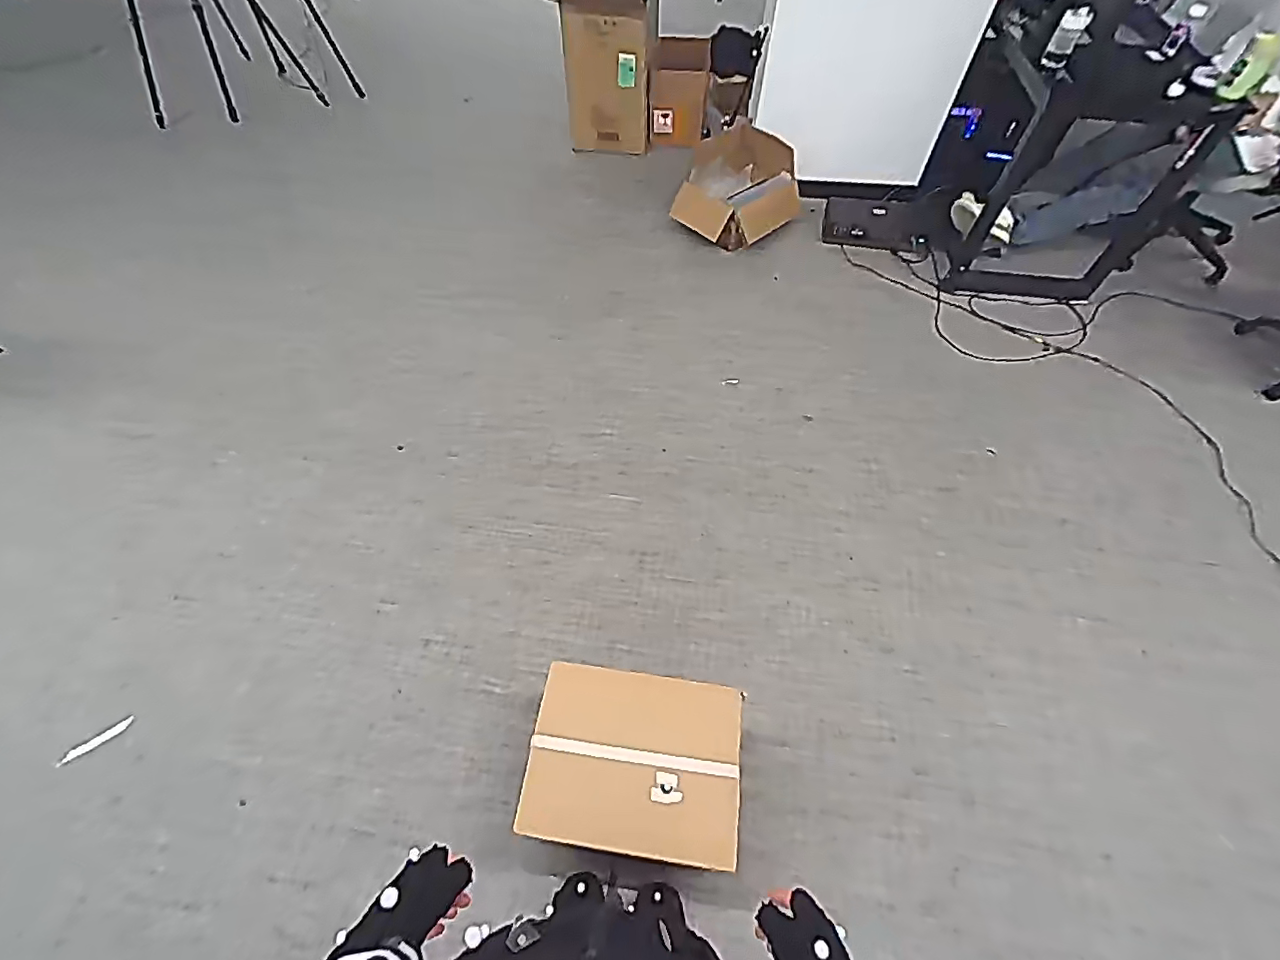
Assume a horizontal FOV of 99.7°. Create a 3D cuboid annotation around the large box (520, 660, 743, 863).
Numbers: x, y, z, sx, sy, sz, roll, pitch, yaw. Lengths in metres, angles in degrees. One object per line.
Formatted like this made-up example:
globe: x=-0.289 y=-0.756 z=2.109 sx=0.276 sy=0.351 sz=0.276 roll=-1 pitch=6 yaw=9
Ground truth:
large box: x=-0.007 y=0.609 z=1.168 sx=0.408 sy=0.320 sz=0.320 roll=7 pitch=57 yaw=4
